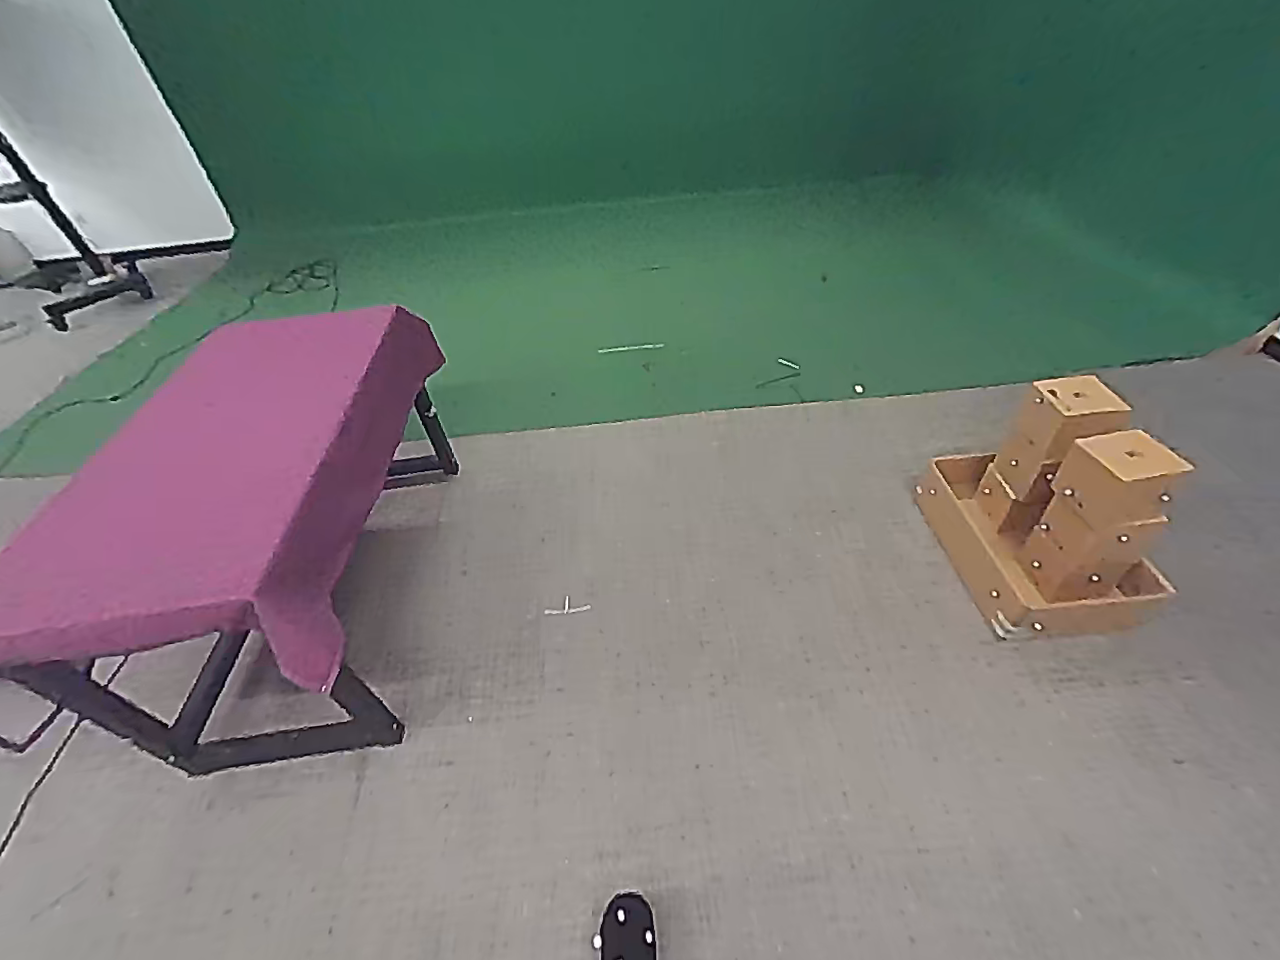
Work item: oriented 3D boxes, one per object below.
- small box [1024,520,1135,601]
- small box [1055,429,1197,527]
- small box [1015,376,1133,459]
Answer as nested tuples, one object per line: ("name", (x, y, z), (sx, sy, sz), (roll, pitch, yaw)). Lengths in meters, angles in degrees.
("small box", (1.266, 0.239, 1.579), (0.179, 0.176, 0.168), (-6, 43, 2))
("small box", (1.210, -0.003, 1.364), (0.179, 0.176, 0.168), (-10, 42, 0))
("small box", (1.227, -0.176, 1.545), (0.179, 0.176, 0.168), (-5, 43, 2))
